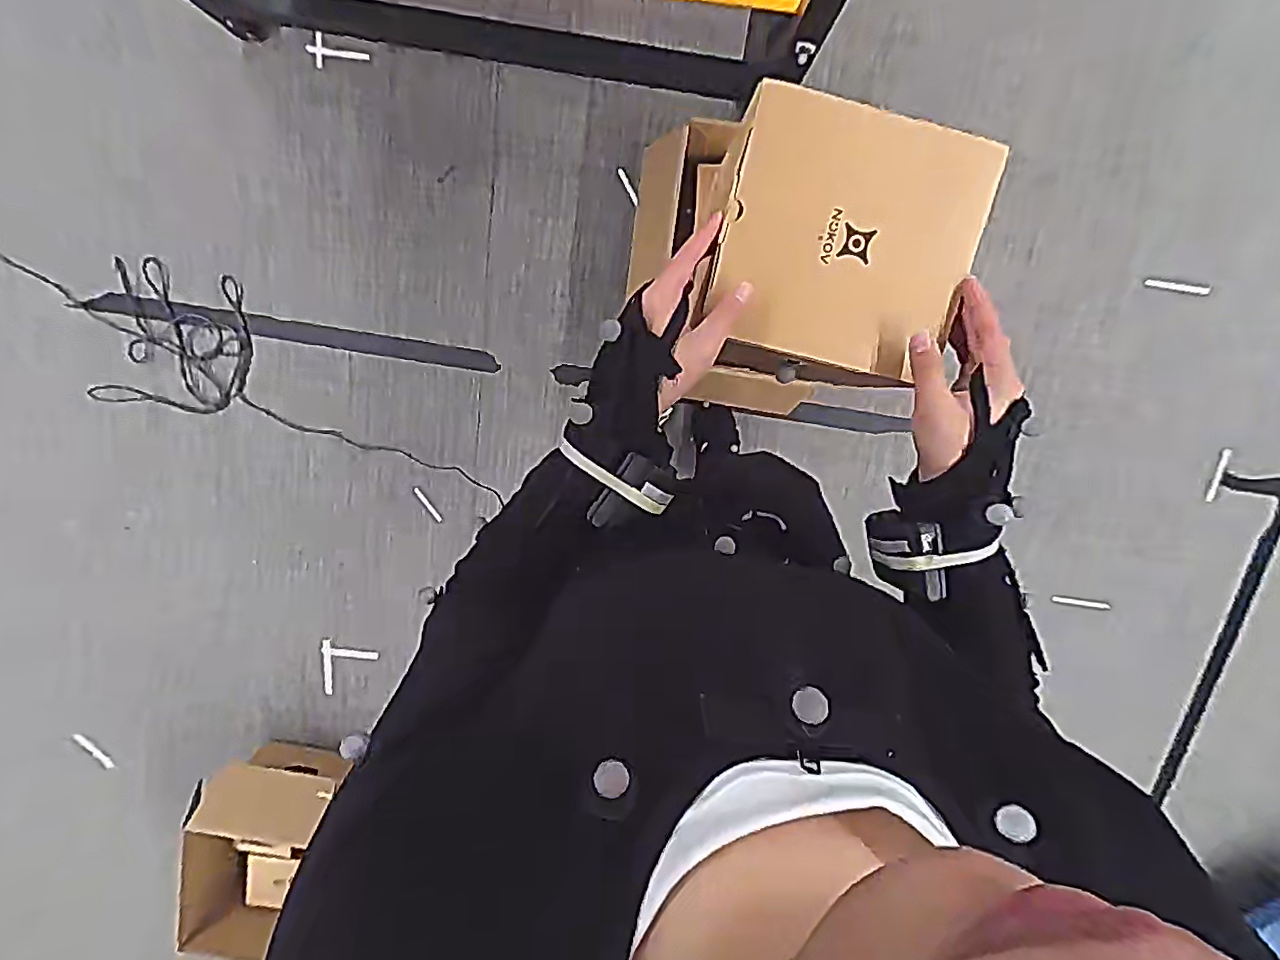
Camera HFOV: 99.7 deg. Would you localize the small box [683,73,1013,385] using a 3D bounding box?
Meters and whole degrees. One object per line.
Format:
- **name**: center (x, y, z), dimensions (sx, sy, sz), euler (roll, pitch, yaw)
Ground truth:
- **small box**: center (0.143, -0.181, 0.444), dimensions (0.179, 0.176, 0.168), euler (13, 101, -3)
